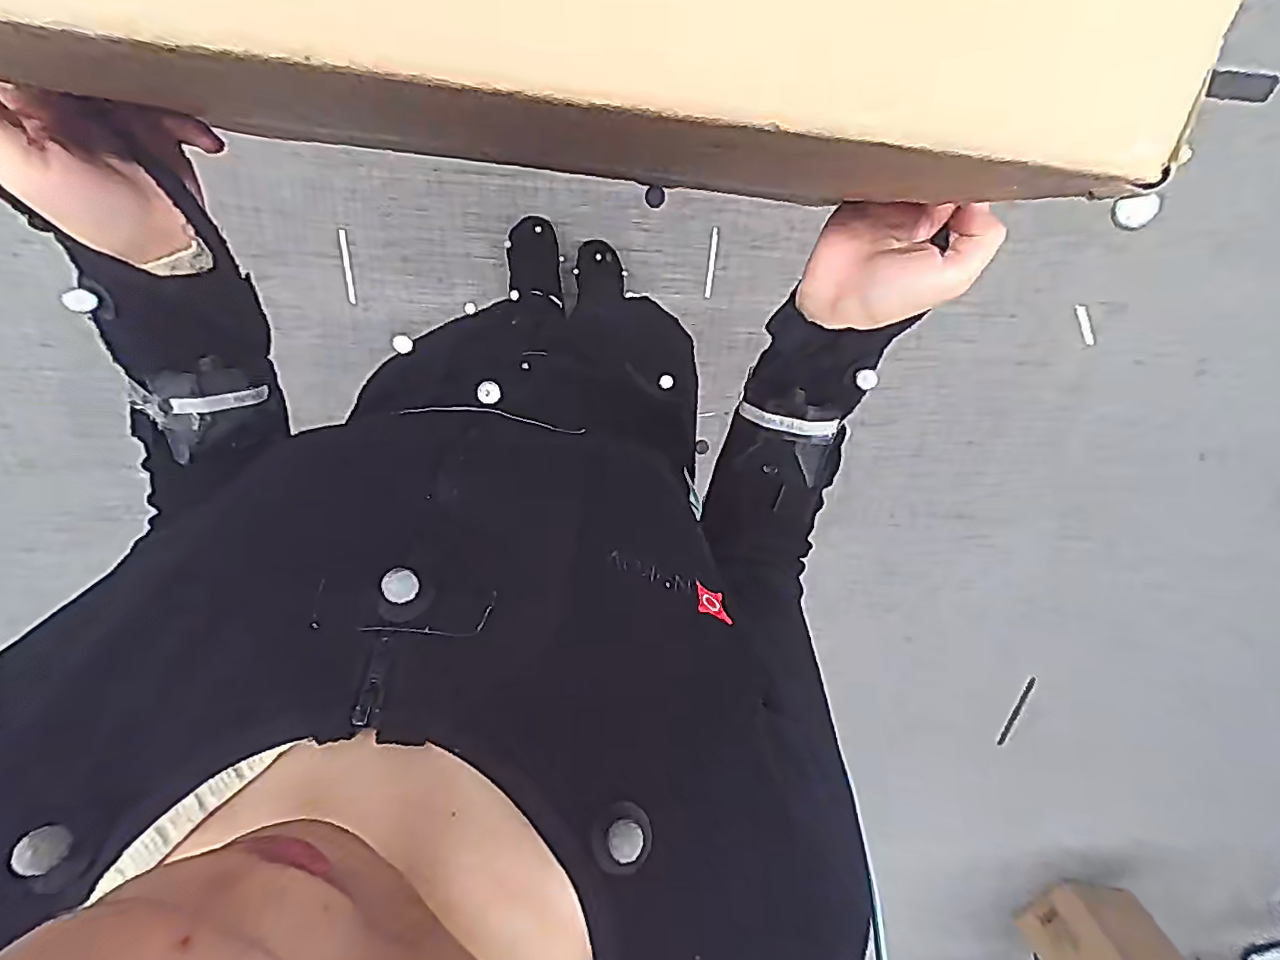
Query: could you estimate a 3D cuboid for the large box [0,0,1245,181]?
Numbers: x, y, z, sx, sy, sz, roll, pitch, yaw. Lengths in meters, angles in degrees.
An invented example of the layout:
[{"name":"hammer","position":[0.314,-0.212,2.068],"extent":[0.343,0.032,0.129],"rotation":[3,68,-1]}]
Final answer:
[{"name":"large box","position":[-0.036,-0.313,0.200],"extent":[0.408,0.320,0.320],"rotation":[3,118,-7]}]
